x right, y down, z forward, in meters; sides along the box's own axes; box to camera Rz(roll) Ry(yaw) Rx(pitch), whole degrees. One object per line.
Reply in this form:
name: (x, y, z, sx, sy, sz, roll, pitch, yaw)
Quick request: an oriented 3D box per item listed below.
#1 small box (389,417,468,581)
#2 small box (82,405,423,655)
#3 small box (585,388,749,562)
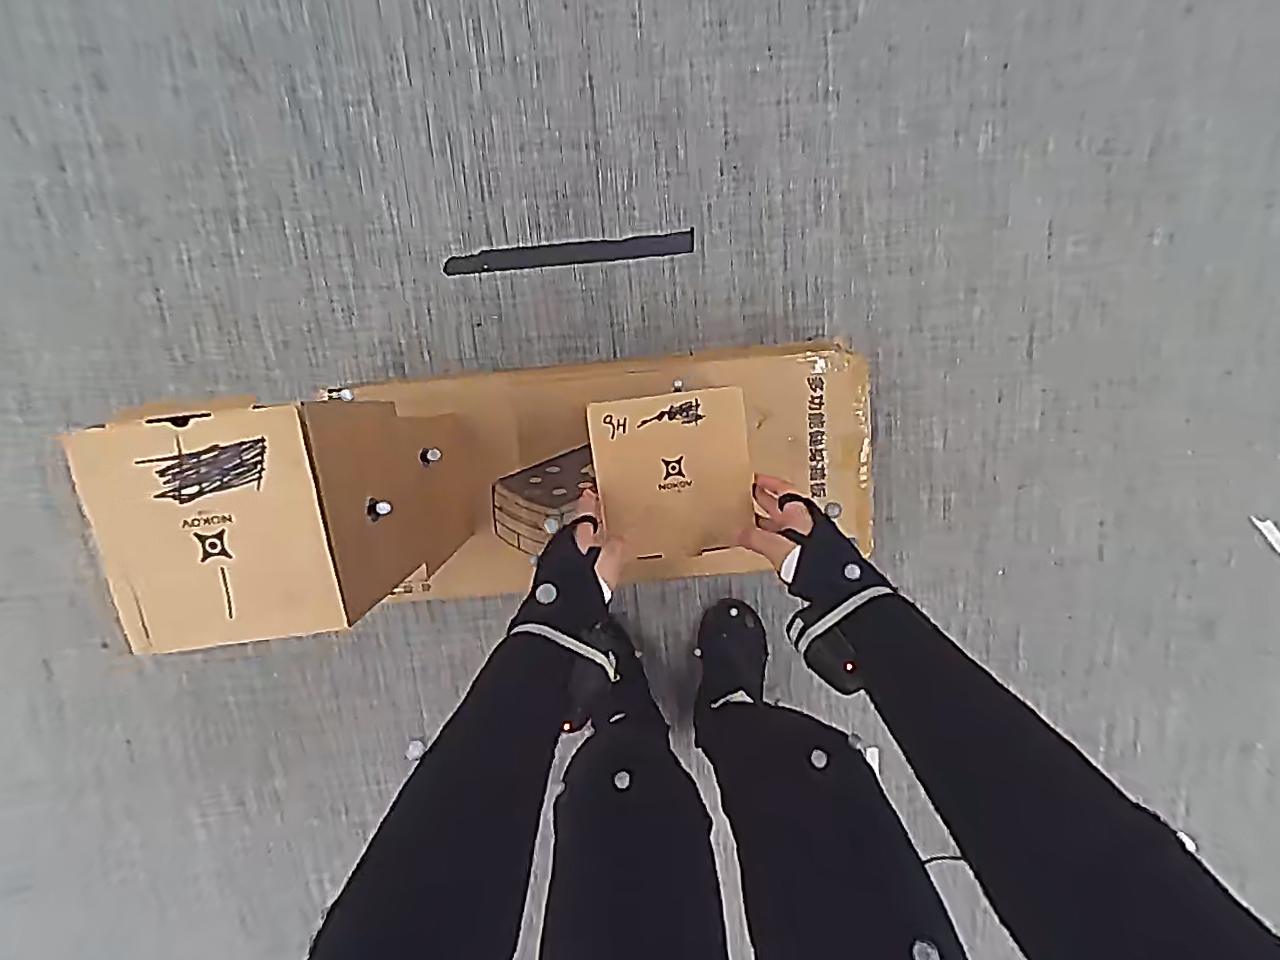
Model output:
small box: (-0.317, 0.018, 0.646, 0.168, 0.176, 0.179, -6, 99, -1)
small box: (-0.314, 0.028, 0.481, 0.168, 0.176, 0.179, -7, 100, -1)
small box: (0.032, -0.016, 0.655, 0.168, 0.176, 0.179, -6, 100, 1)
